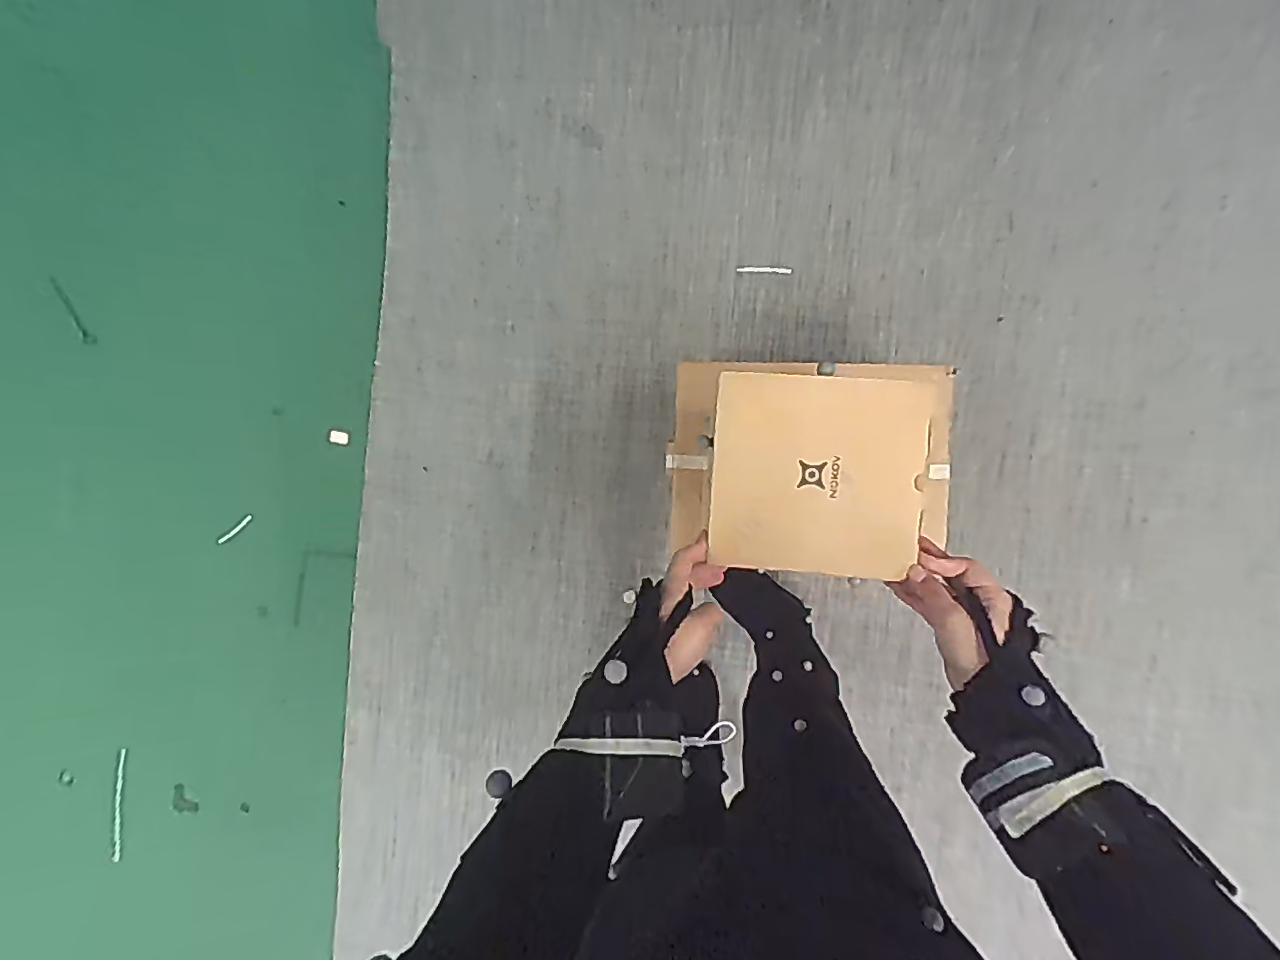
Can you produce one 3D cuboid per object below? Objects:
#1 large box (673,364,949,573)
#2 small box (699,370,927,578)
[{"bbox_3d":[0.272,-0.023,0.967,0.408,0.320,0.320,2,92,9],"label":"large box"},{"bbox_3d":[0.150,-0.009,0.530,0.179,0.176,0.168,4,94,5],"label":"small box"}]
